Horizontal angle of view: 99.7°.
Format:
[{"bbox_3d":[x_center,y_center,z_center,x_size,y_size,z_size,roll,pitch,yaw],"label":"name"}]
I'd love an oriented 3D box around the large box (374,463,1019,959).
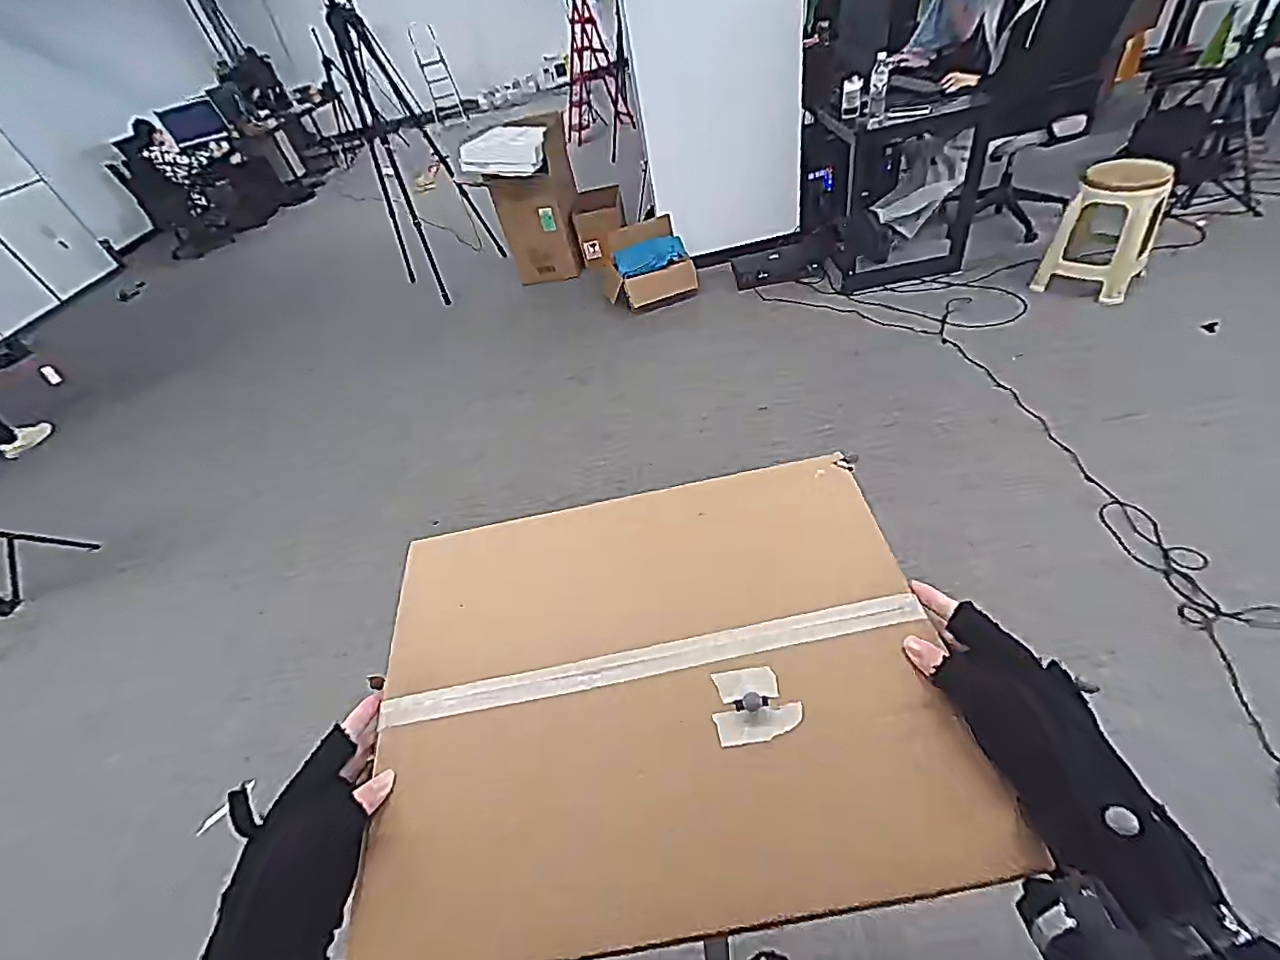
[{"bbox_3d":[0.030,0.231,0.528,0.408,0.320,0.320,-11,51,1],"label":"large box"}]
